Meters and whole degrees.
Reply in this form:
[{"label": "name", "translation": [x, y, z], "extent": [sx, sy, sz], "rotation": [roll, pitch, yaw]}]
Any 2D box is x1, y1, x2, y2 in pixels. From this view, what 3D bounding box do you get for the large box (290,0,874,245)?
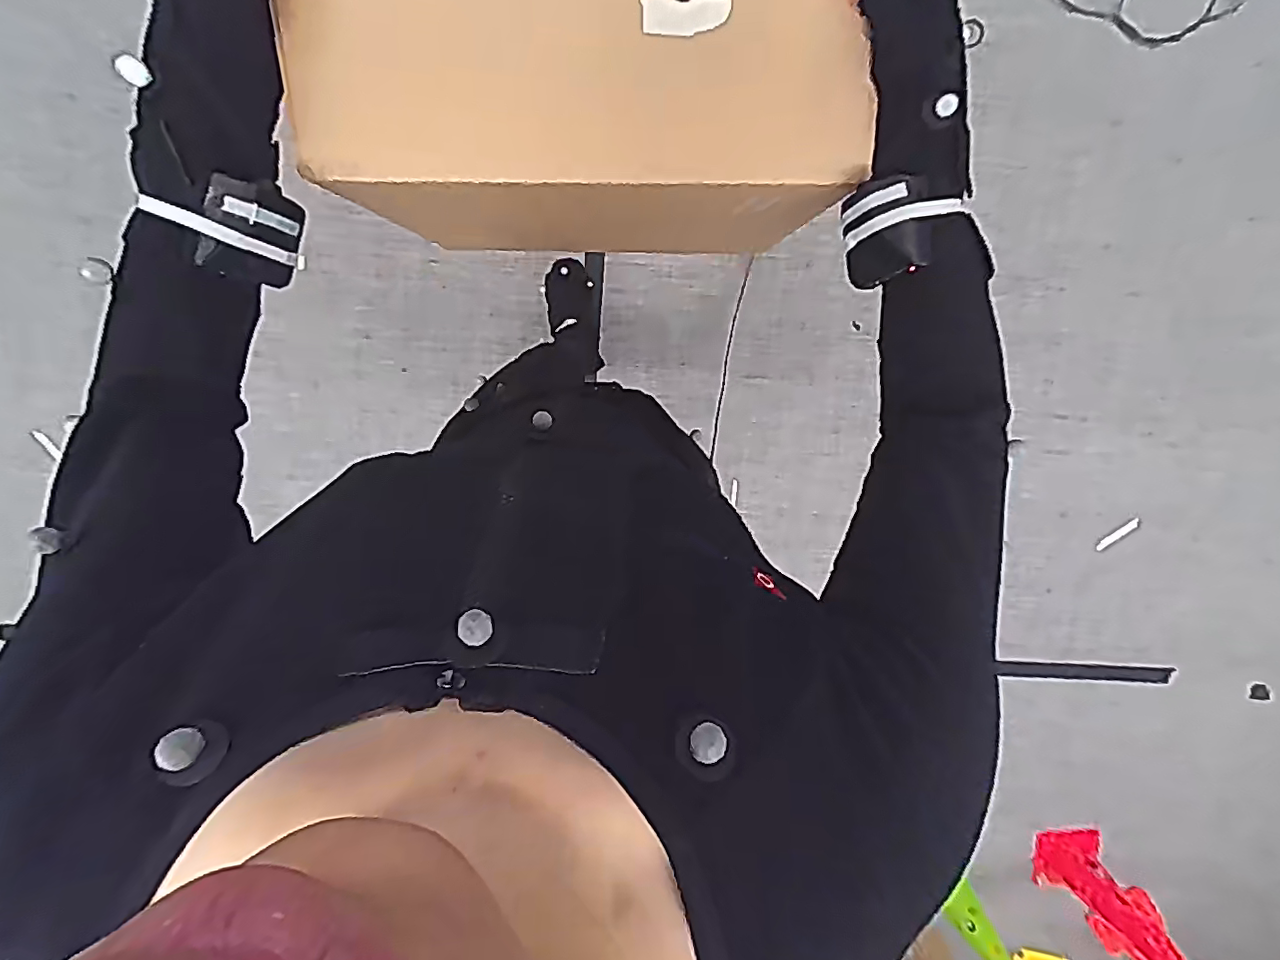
[{"label": "large box", "translation": [-0.042, -0.411, 0.498], "extent": [0.408, 0.320, 0.320], "rotation": [0, 105, -1]}]
